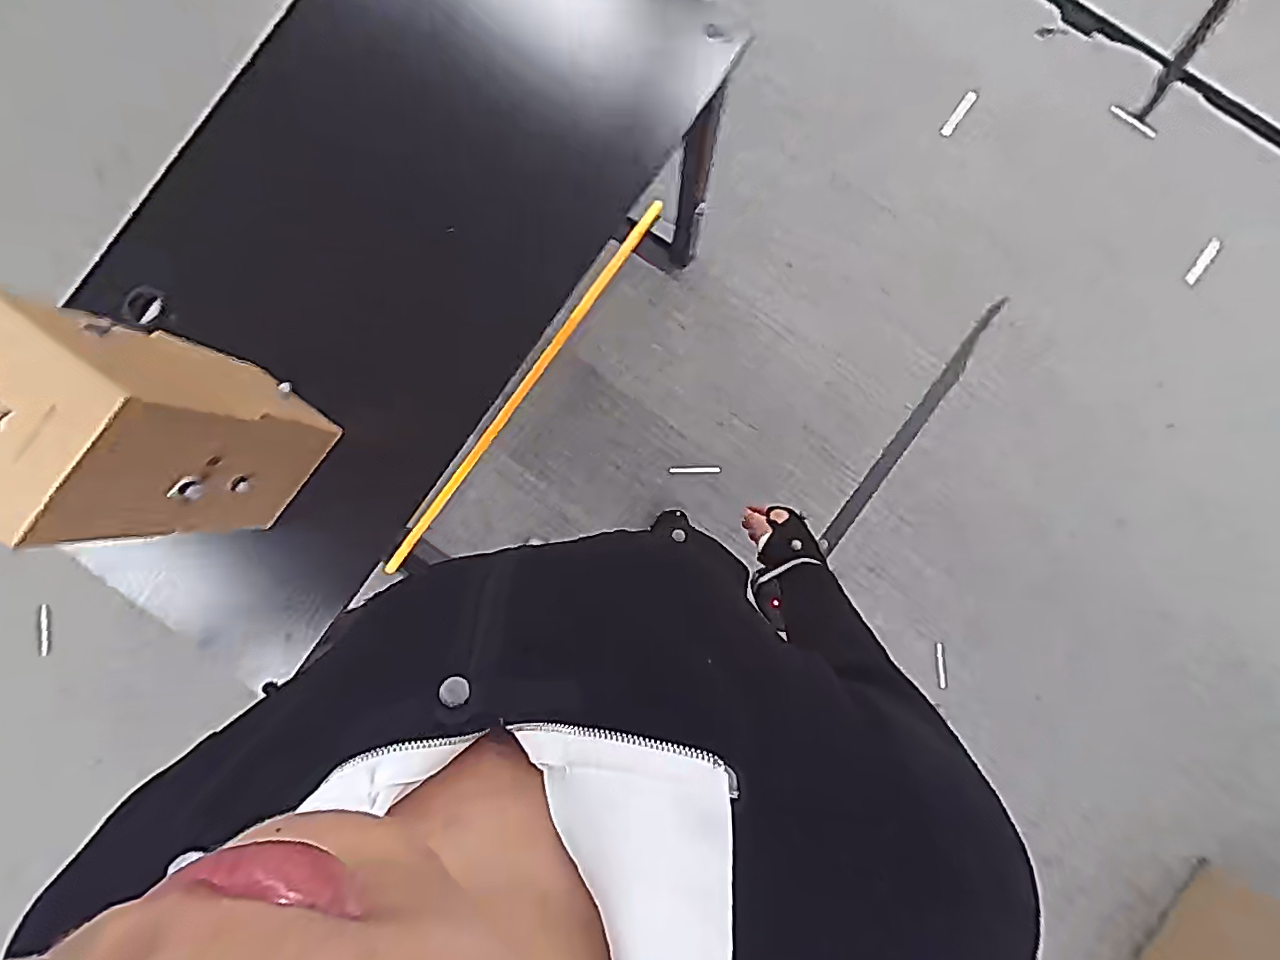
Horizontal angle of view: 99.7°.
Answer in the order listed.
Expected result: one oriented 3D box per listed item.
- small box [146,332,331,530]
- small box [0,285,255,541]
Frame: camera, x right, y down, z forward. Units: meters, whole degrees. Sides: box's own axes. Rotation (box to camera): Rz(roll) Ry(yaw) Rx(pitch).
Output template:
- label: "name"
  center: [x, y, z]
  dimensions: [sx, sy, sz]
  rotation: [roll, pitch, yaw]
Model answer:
- label: "small box"
  center: [-0.552, -0.053, 0.703]
  dimensions: [0.168, 0.176, 0.179]
  rotation: [36, 87, 2]
- label: "small box"
  center: [-0.552, -0.057, 0.541]
  dimensions: [0.179, 0.176, 0.168]
  rotation: [35, 89, 1]
